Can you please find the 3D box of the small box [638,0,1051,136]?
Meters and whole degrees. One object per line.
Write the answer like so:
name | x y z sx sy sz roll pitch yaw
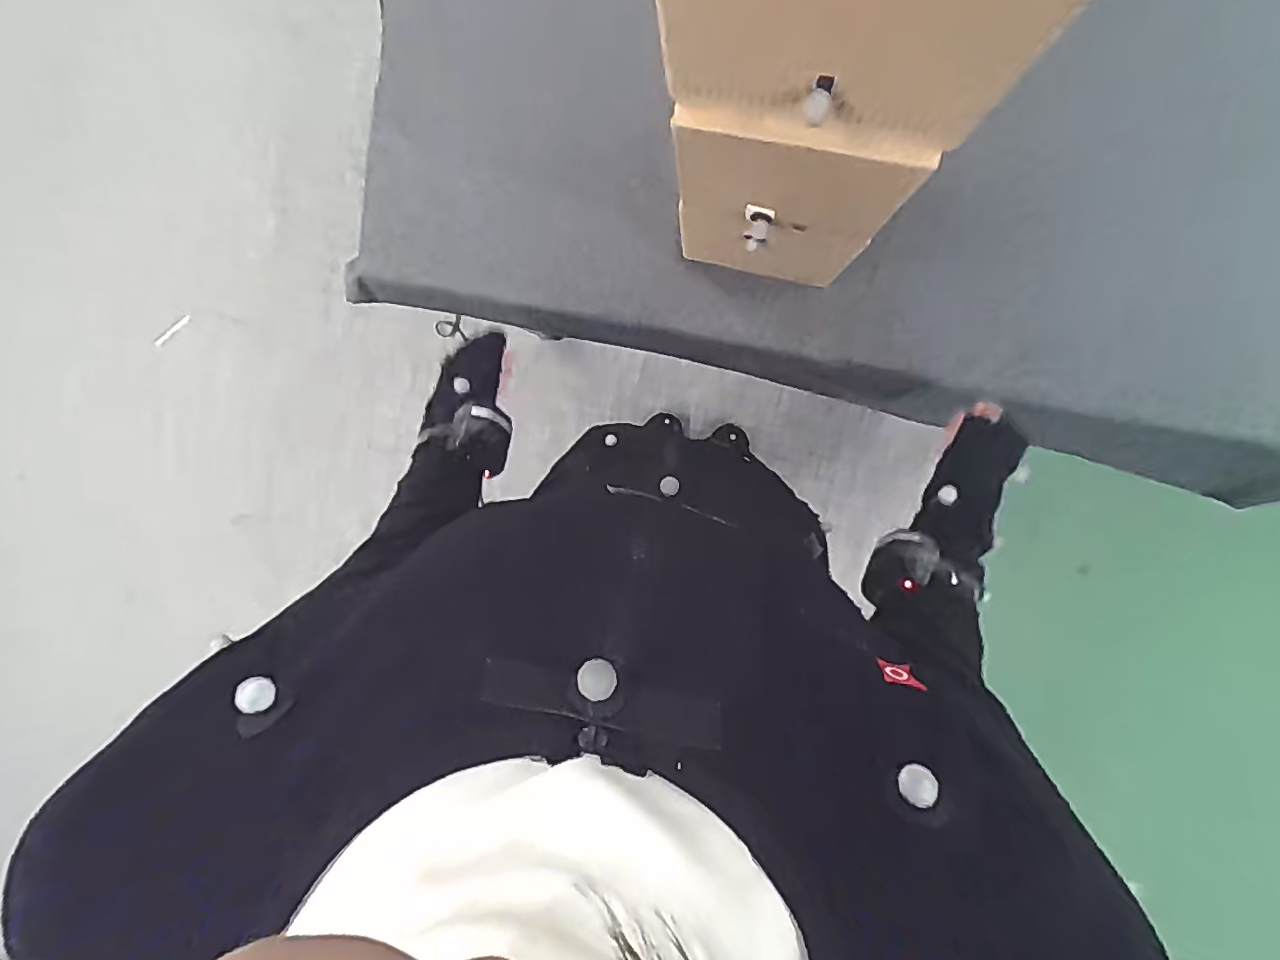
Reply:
small box | 0.099 -0.282 0.233 0.179 0.176 0.168 14 99 6

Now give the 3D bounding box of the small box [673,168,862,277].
small box | 0.141 -0.321 0.553 0.179 0.176 0.168 14 99 4

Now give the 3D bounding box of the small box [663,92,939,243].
small box | 0.121 -0.299 0.394 0.168 0.176 0.179 13 100 7
